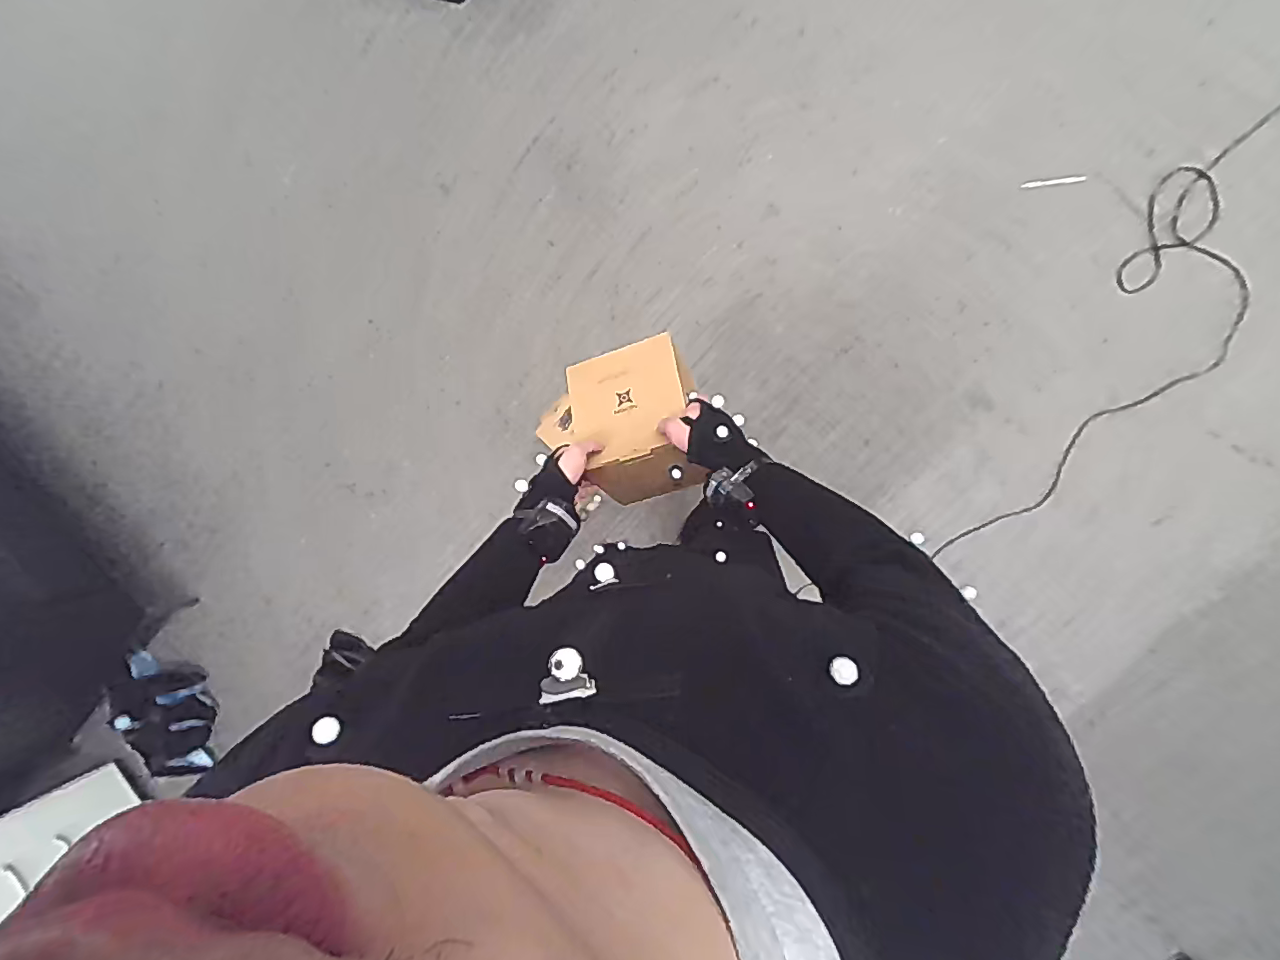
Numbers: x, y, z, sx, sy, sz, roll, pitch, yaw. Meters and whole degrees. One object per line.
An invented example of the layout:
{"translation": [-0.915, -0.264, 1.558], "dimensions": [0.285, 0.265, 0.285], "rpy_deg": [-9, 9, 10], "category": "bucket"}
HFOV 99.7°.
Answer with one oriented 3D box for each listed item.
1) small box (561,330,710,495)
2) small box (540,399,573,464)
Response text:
{"translation": [-0.002, -0.088, 0.821], "dimensions": [0.168, 0.176, 0.179], "rpy_deg": [-16, 65, 15], "category": "small box"}
{"translation": [-0.141, -0.141, 1.498], "dimensions": [0.168, 0.176, 0.179], "rpy_deg": [-45, 85, 11], "category": "small box"}
